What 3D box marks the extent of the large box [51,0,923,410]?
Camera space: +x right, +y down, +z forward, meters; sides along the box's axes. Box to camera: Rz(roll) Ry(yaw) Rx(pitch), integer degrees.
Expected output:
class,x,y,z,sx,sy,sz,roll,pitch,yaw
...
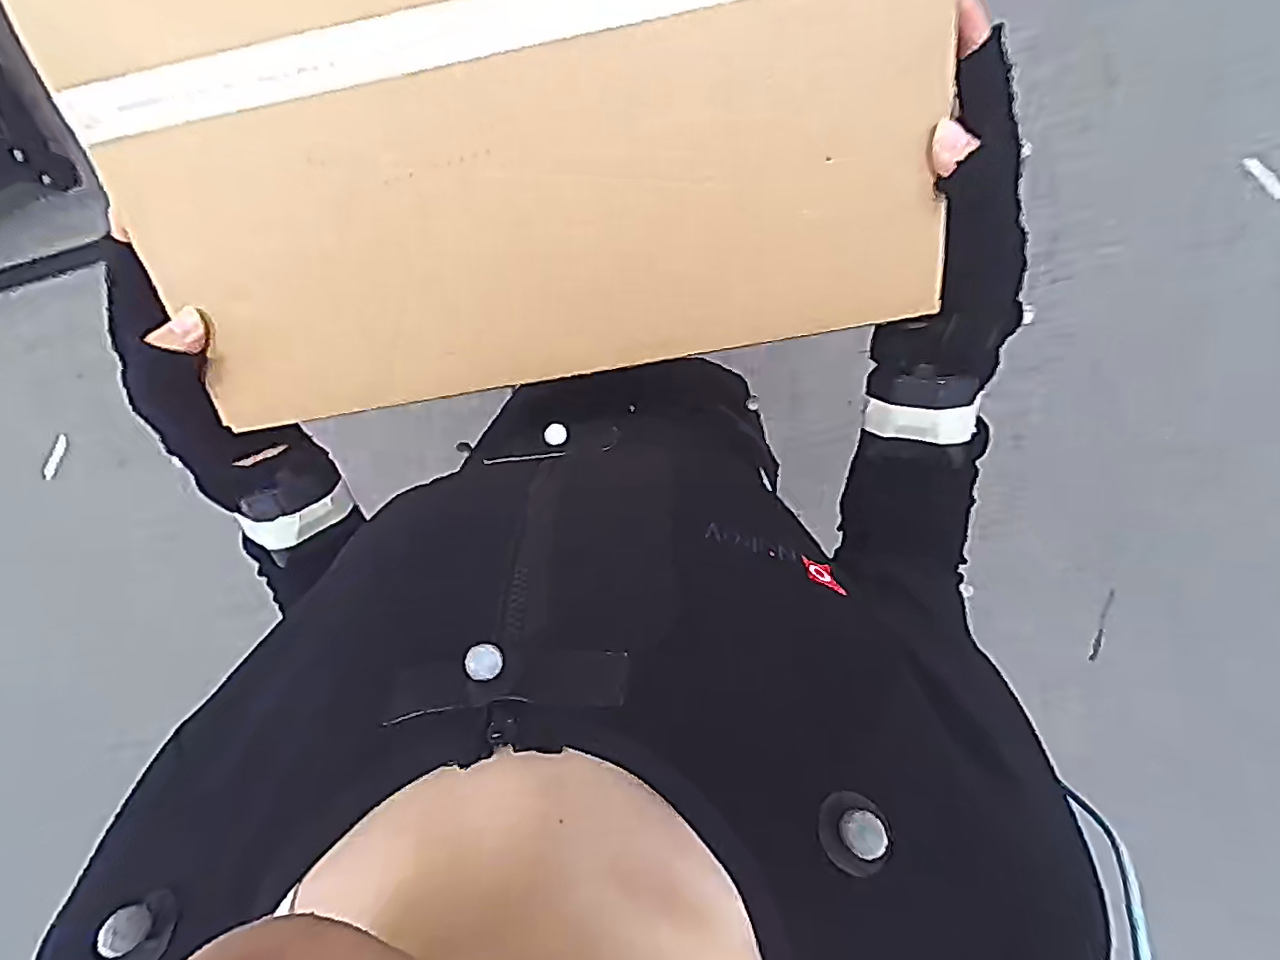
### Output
class,x,y,z,sx,sy,sz,roll,pitch,yaw
large box,-0.070,-0.269,0.389,0.408,0.320,0.320,-9,114,4
